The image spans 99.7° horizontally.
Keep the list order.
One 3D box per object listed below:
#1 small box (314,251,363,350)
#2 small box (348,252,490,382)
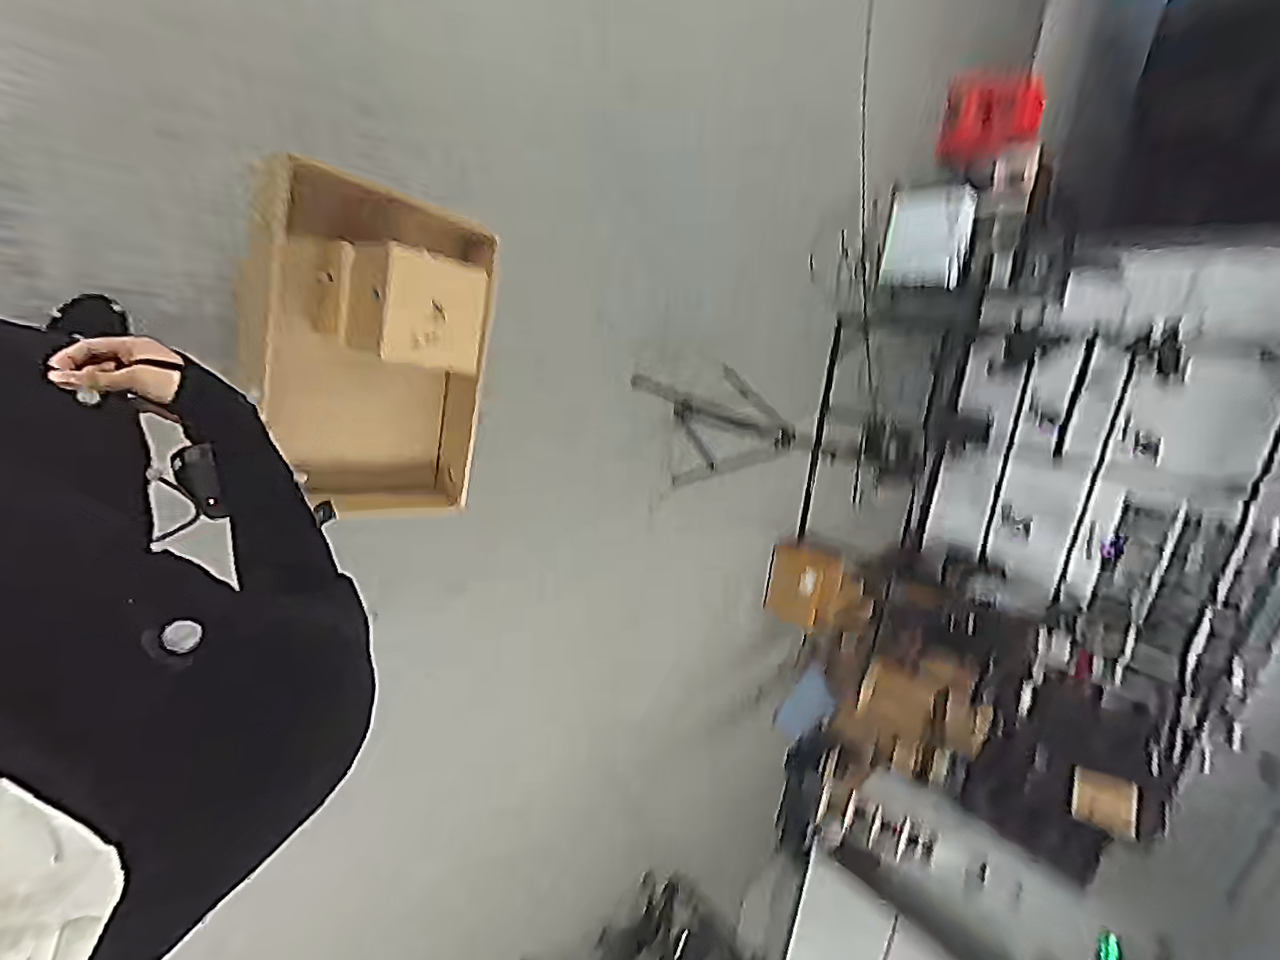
[{"bbox_3d":[-0.505,-0.329,1.039,0.179,0.176,0.168,-1,107,-46],"label":"small box"},{"bbox_3d":[-0.386,-0.280,0.936,0.168,0.176,0.179,1,105,-46],"label":"small box"}]
